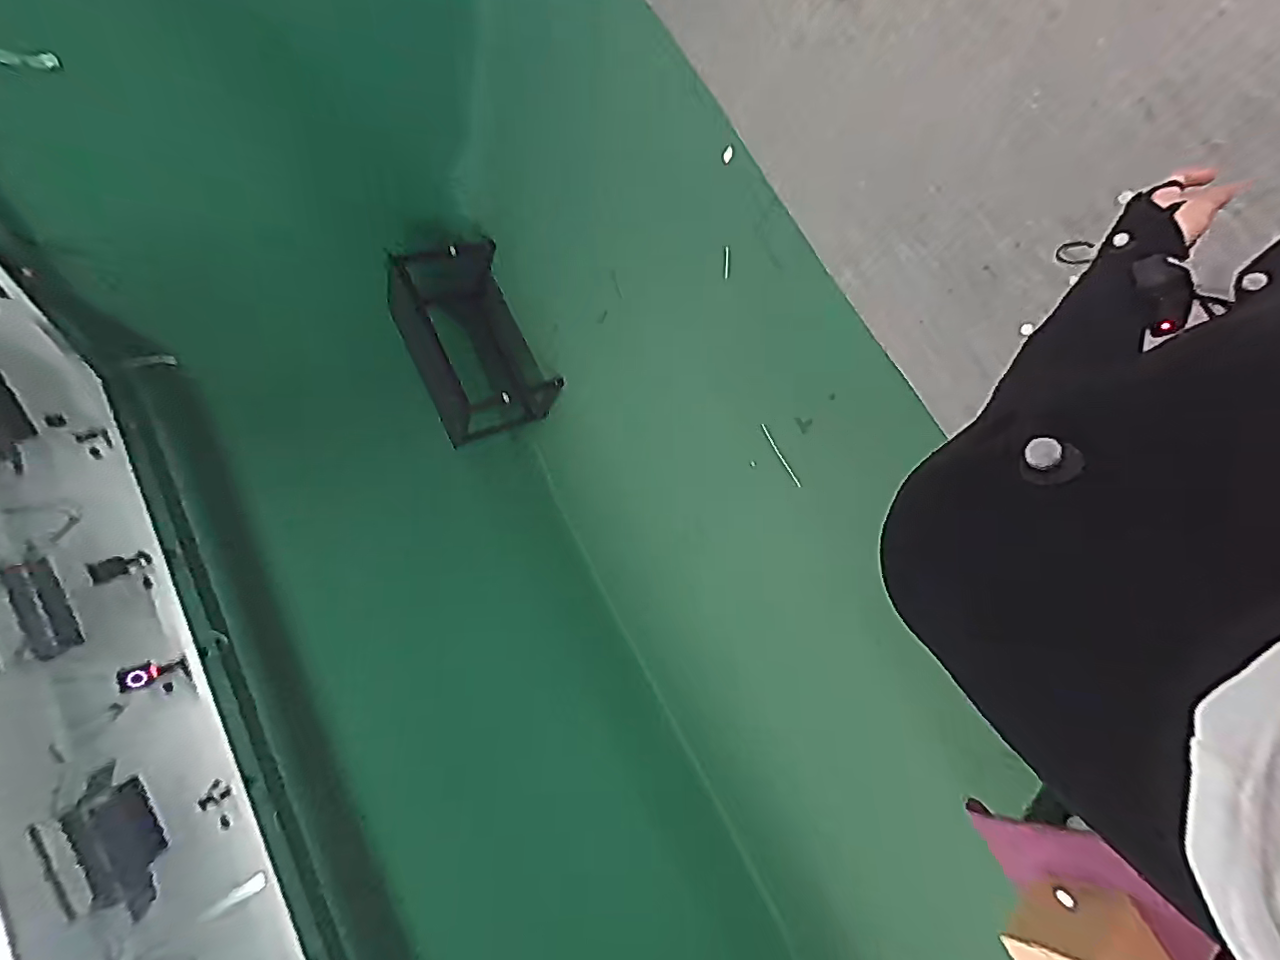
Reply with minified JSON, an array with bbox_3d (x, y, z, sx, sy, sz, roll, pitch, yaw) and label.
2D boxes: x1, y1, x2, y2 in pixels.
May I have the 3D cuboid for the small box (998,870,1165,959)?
[{"bbox_3d":[0.809,0.865,0.980,0.179,0.176,0.168,61,148,9],"label":"small box"}]
